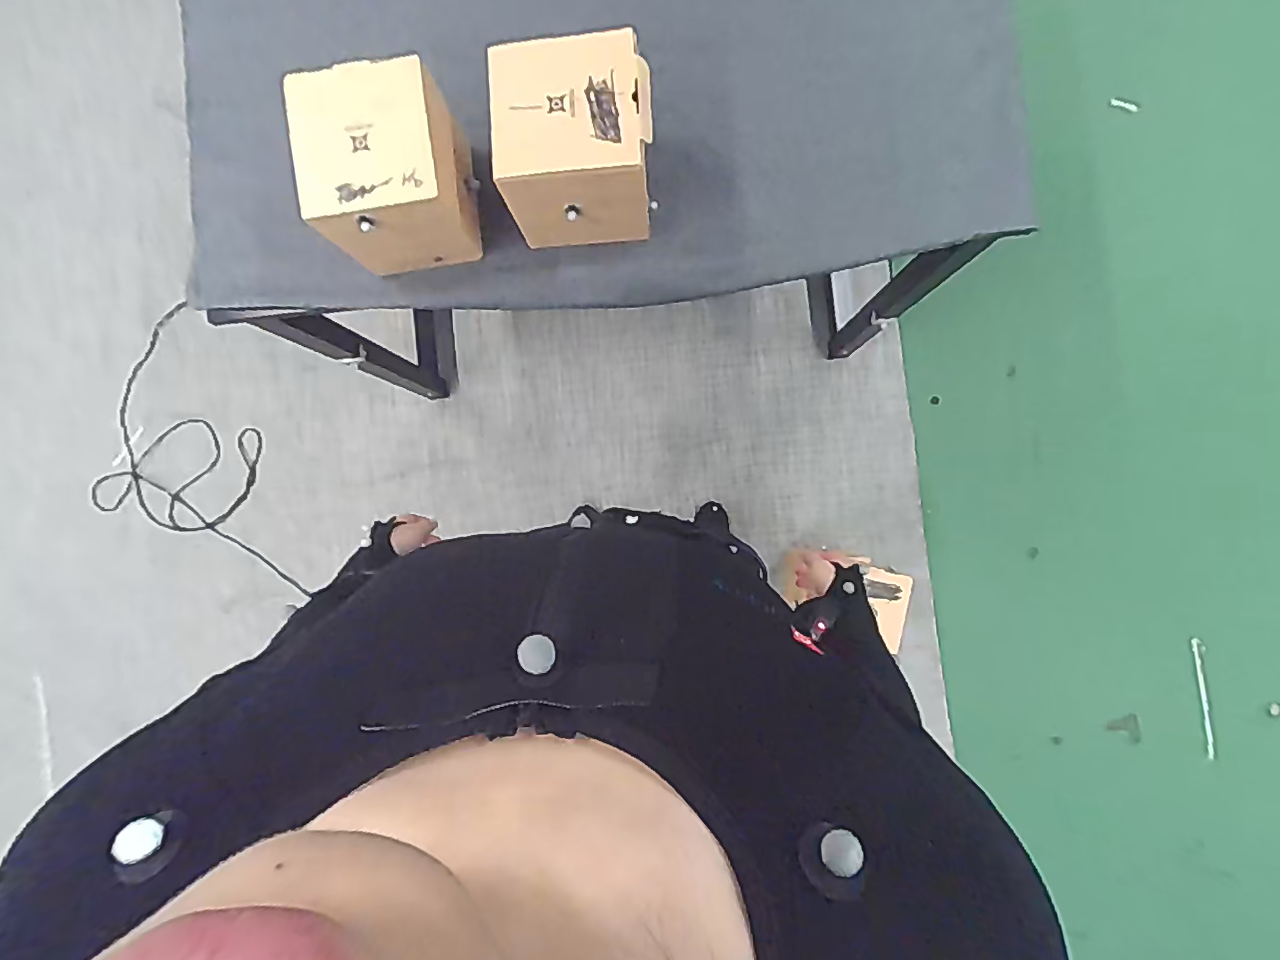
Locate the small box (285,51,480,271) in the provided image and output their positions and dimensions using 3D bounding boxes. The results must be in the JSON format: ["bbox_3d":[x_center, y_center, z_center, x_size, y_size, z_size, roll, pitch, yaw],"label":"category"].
[{"bbox_3d":[-0.322,-0.401,0.706,0.168,0.176,0.179,-8,88,3],"label":"small box"}]

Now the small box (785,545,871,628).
[{"bbox_3d":[0.474,0.266,1.384,0.168,0.176,0.179,2,89,3],"label":"small box"}]
